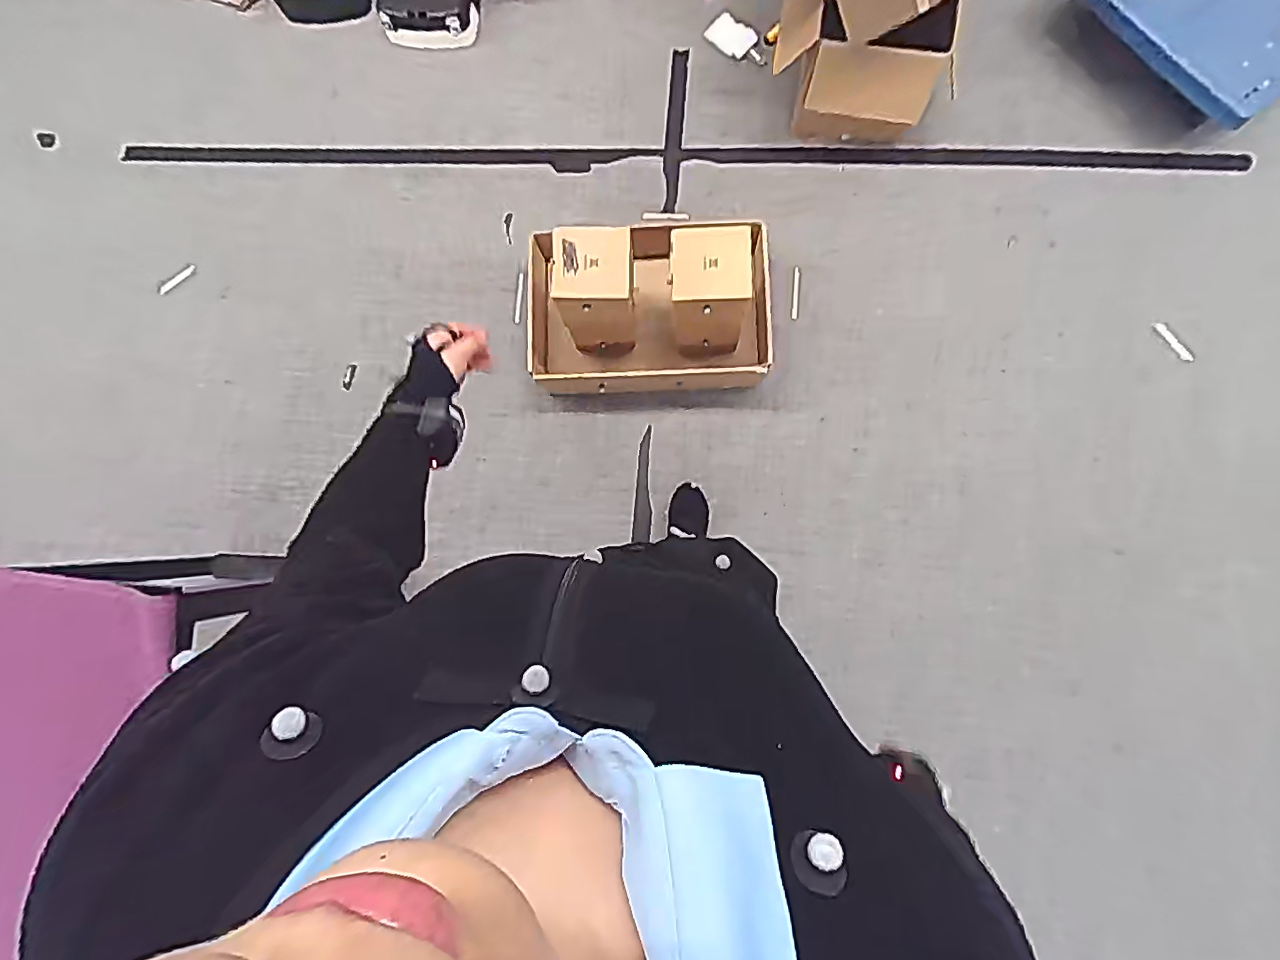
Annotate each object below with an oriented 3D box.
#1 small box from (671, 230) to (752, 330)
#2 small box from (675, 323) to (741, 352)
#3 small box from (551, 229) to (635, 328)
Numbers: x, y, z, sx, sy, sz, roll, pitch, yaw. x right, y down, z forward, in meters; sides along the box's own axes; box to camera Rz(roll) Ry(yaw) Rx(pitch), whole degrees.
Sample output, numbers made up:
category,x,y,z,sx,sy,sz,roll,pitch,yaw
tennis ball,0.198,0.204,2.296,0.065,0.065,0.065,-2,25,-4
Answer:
category,x,y,z,sx,sy,sz,roll,pitch,yaw
small box,0.162,-0.459,1.258,0.179,0.176,0.168,0,84,5
small box,0.177,-0.444,1.419,0.168,0.176,0.179,0,83,4
small box,-0.105,-0.468,1.274,0.179,0.176,0.168,1,85,2
